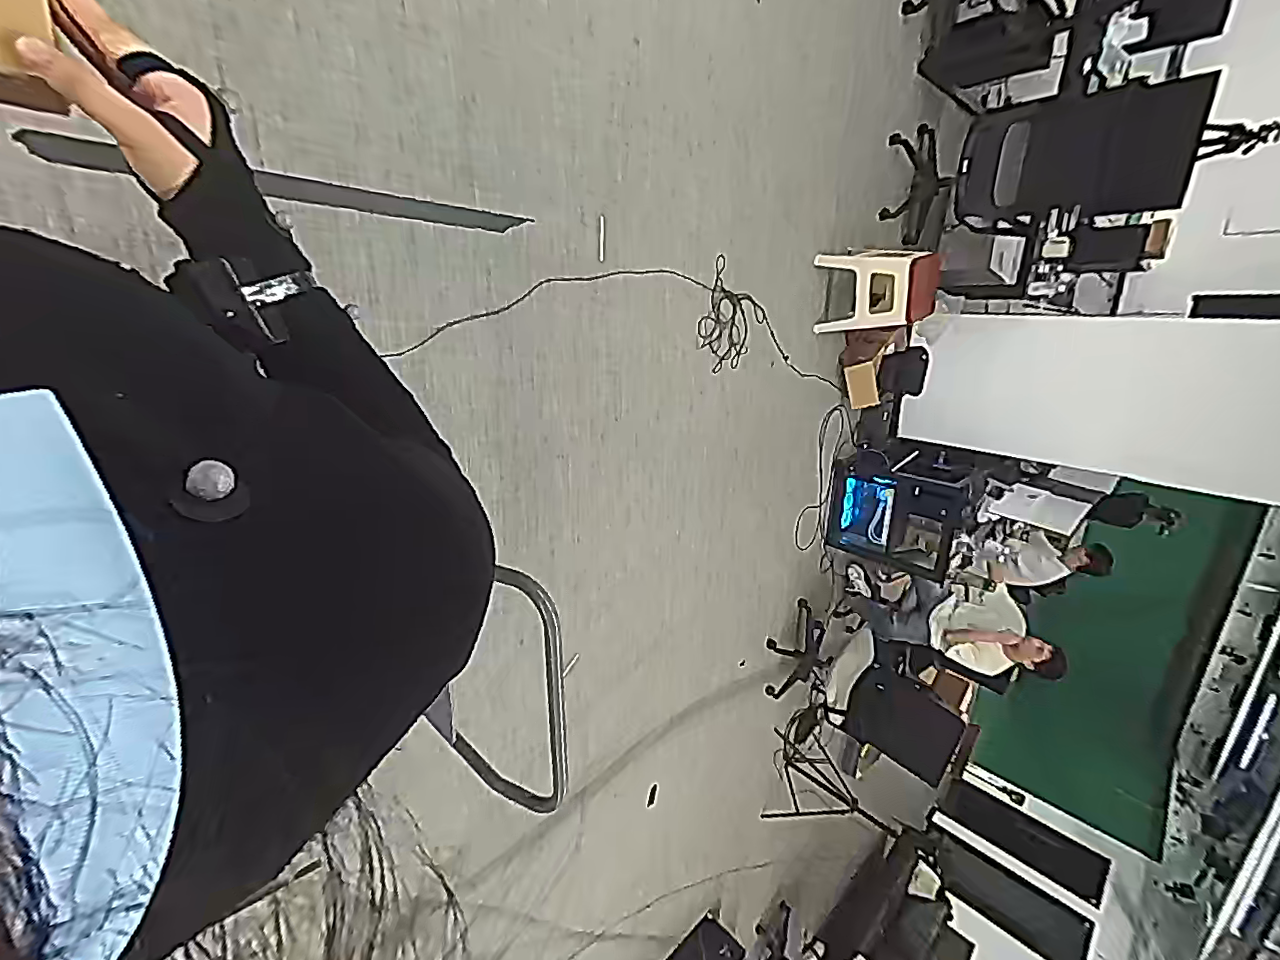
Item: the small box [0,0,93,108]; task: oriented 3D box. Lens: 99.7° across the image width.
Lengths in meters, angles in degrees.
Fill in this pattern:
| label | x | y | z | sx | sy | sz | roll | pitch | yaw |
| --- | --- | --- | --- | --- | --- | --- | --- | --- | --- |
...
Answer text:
| label | x | y | z | sx | sy | sz | roll | pitch | yaw |
| --- | --- | --- | --- | --- | --- | --- | --- | --- | --- |
| small box | -0.424 | -0.330 | 0.286 | 0.168 | 0.176 | 0.179 | -11 | 117 | -42 |
